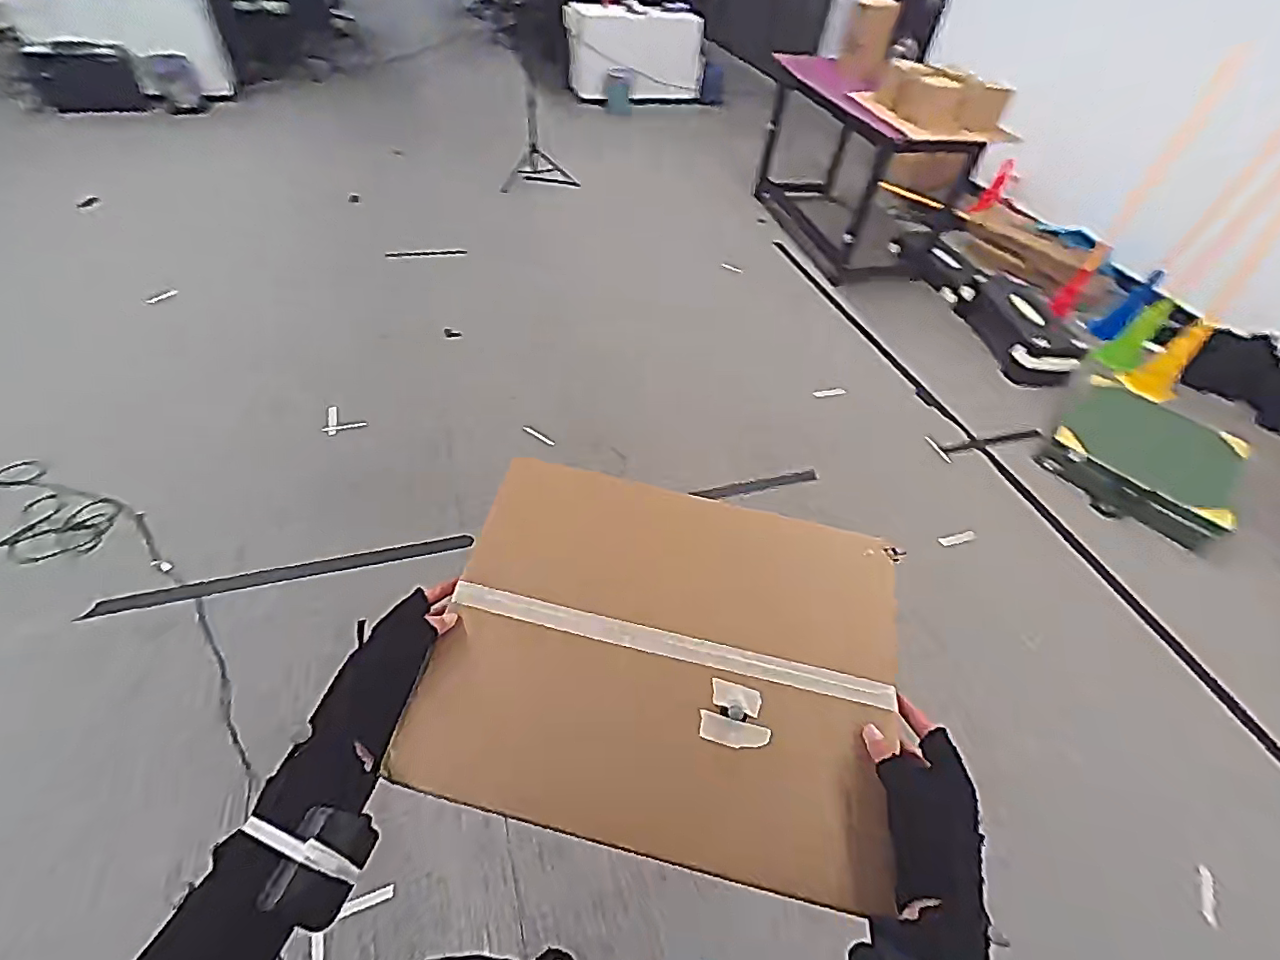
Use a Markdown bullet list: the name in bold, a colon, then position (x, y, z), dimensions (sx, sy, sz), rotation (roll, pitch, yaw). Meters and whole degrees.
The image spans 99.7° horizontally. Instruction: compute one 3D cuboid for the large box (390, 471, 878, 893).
- **large box**: position (0.008, 0.230, 0.628), dimensions (0.408, 0.320, 0.320), rotation (12, 59, 3)
